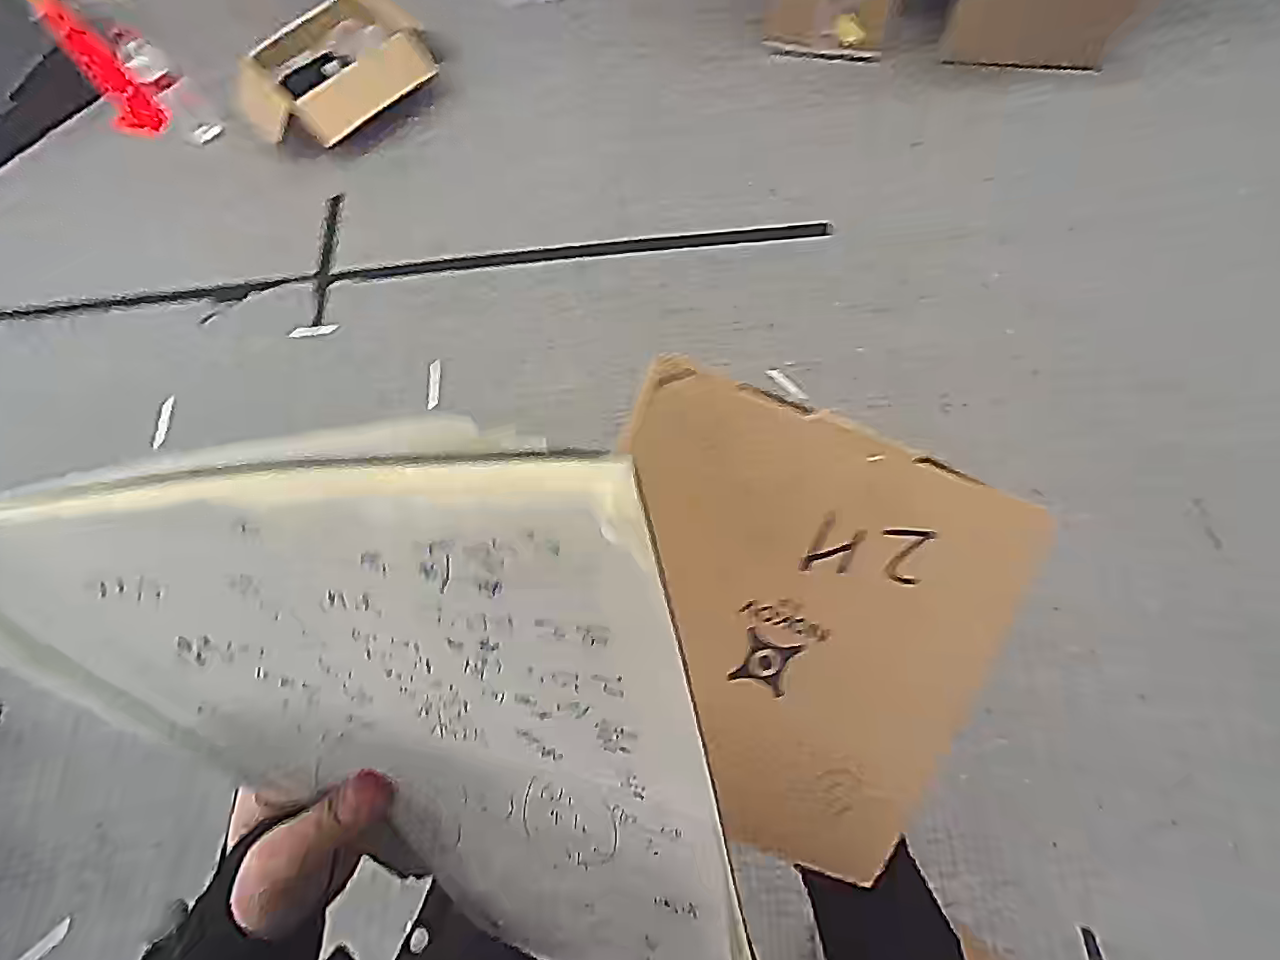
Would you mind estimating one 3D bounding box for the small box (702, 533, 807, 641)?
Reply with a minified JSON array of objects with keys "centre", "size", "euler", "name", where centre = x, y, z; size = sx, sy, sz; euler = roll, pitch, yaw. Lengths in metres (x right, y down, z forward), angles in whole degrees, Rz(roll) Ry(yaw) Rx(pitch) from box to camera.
[{"centre":[0.255,0.253,1.258],"size":[0.168,0.176,0.179],"euler":[36,79,13],"name":"small box"}]
